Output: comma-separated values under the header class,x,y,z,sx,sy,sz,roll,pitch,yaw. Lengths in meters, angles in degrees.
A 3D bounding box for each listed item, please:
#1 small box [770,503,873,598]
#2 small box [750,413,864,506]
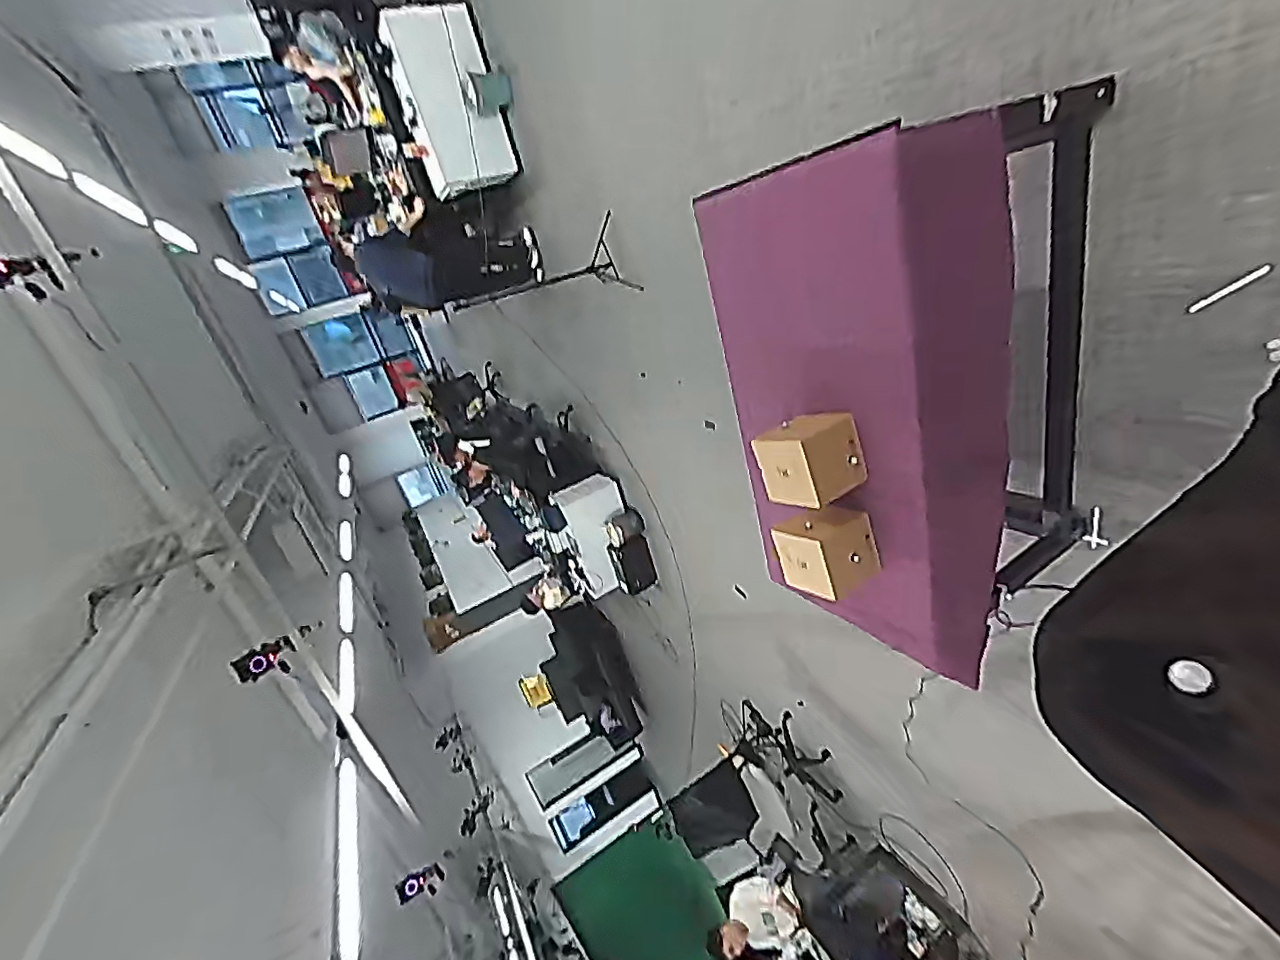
class,x,y,z,sx,sy,sz,roll,pitch,yaw
small box,0.470,0.172,1.385,0.179,0.176,0.168,13,125,64
small box,0.400,-0.055,1.295,0.179,0.176,0.168,11,125,64
